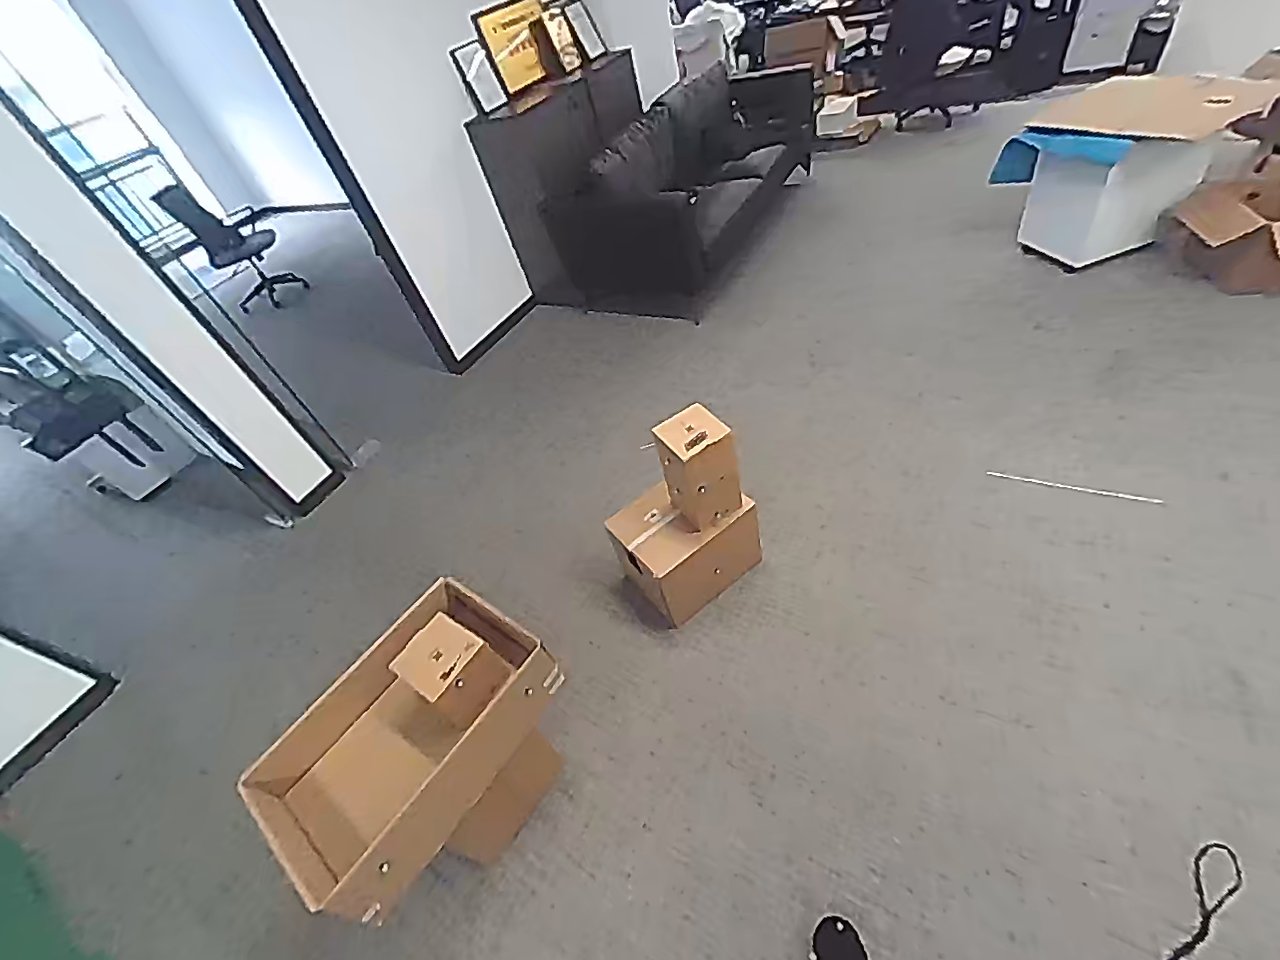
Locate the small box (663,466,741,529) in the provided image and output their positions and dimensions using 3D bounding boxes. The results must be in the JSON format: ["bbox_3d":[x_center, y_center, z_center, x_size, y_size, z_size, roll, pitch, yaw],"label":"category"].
[{"bbox_3d":[0.196,0.018,1.679,0.168,0.176,0.179,-31,48,-12],"label":"small box"}]

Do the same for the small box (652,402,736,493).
[{"bbox_3d":[0.160,-0.086,1.558,0.168,0.176,0.179,-31,46,-11],"label":"small box"}]

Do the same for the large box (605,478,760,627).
[{"bbox_3d":[0.158,0.213,1.853,0.408,0.320,0.320,-36,47,-16],"label":"large box"}]
